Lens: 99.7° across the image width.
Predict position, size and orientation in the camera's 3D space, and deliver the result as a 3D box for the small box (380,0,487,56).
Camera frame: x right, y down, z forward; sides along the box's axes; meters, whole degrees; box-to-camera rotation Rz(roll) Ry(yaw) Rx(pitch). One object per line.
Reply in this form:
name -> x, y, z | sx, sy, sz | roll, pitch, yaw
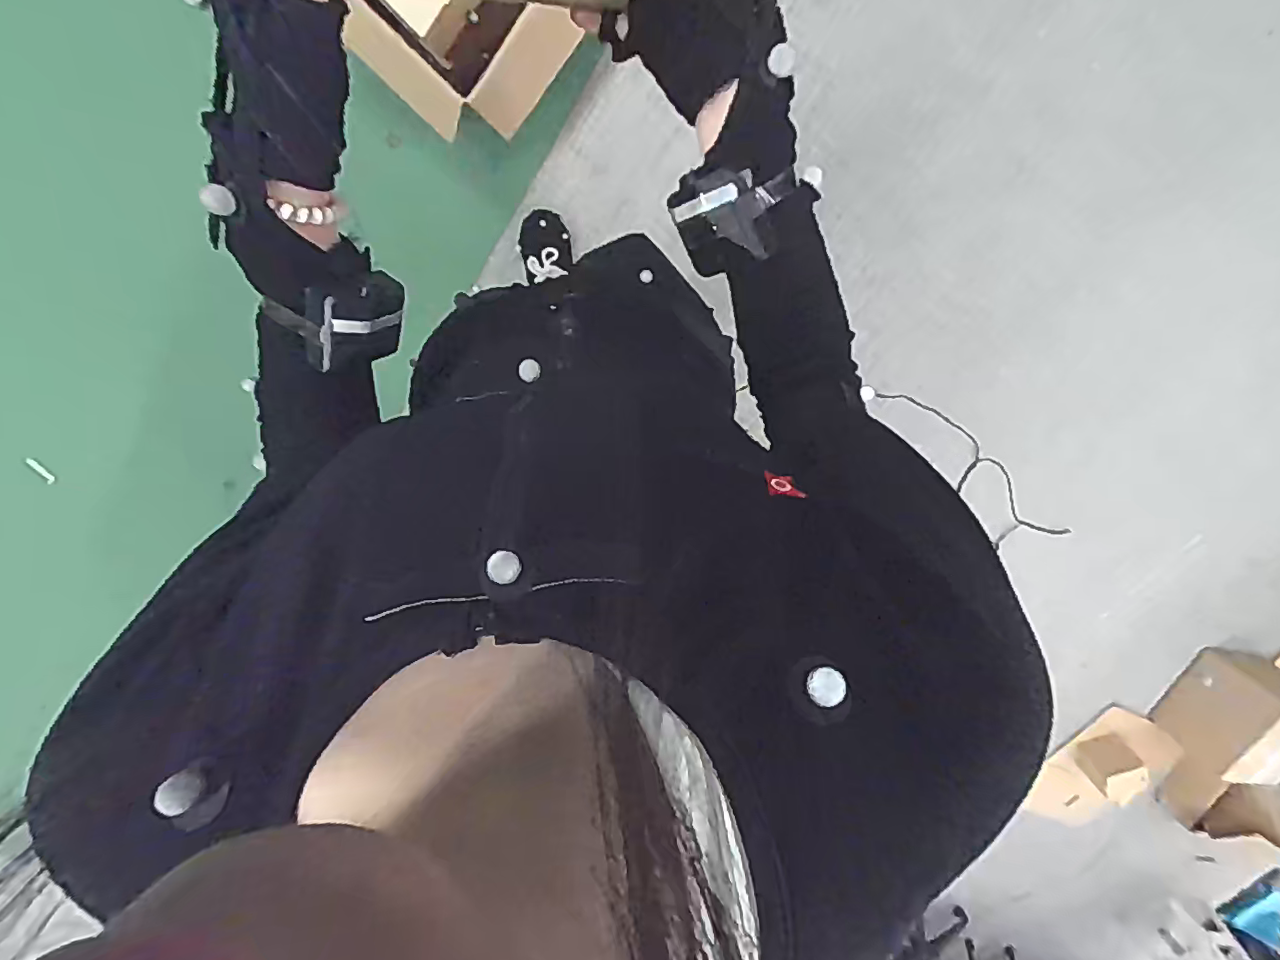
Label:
small box -> -0.351, -0.813, 0.840 | 0.179, 0.176, 0.168 | 40, 108, -23
